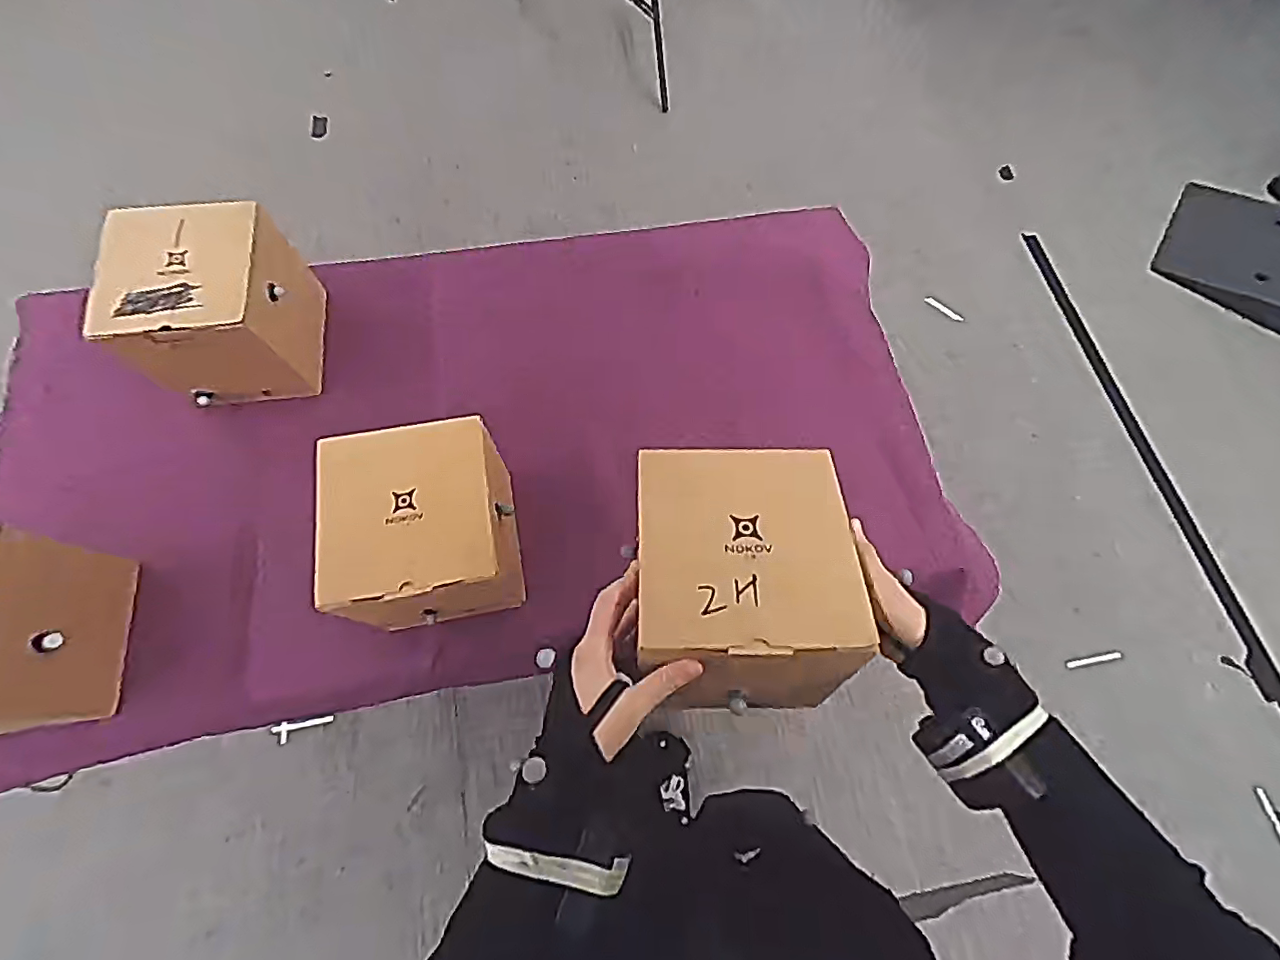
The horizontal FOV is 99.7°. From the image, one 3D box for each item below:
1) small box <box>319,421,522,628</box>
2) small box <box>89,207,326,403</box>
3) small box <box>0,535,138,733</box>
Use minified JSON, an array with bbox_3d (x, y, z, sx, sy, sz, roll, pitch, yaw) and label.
[{"bbox_3d":[-0.235,0.058,0.609,0.168,0.176,0.179,-10,70,-7],"label":"small box"},{"bbox_3d":[-0.526,-0.210,0.688,0.168,0.176,0.179,-7,71,-6],"label":"small box"},{"bbox_3d":[-0.665,0.165,0.545,0.168,0.176,0.179,-8,71,-6],"label":"small box"}]
